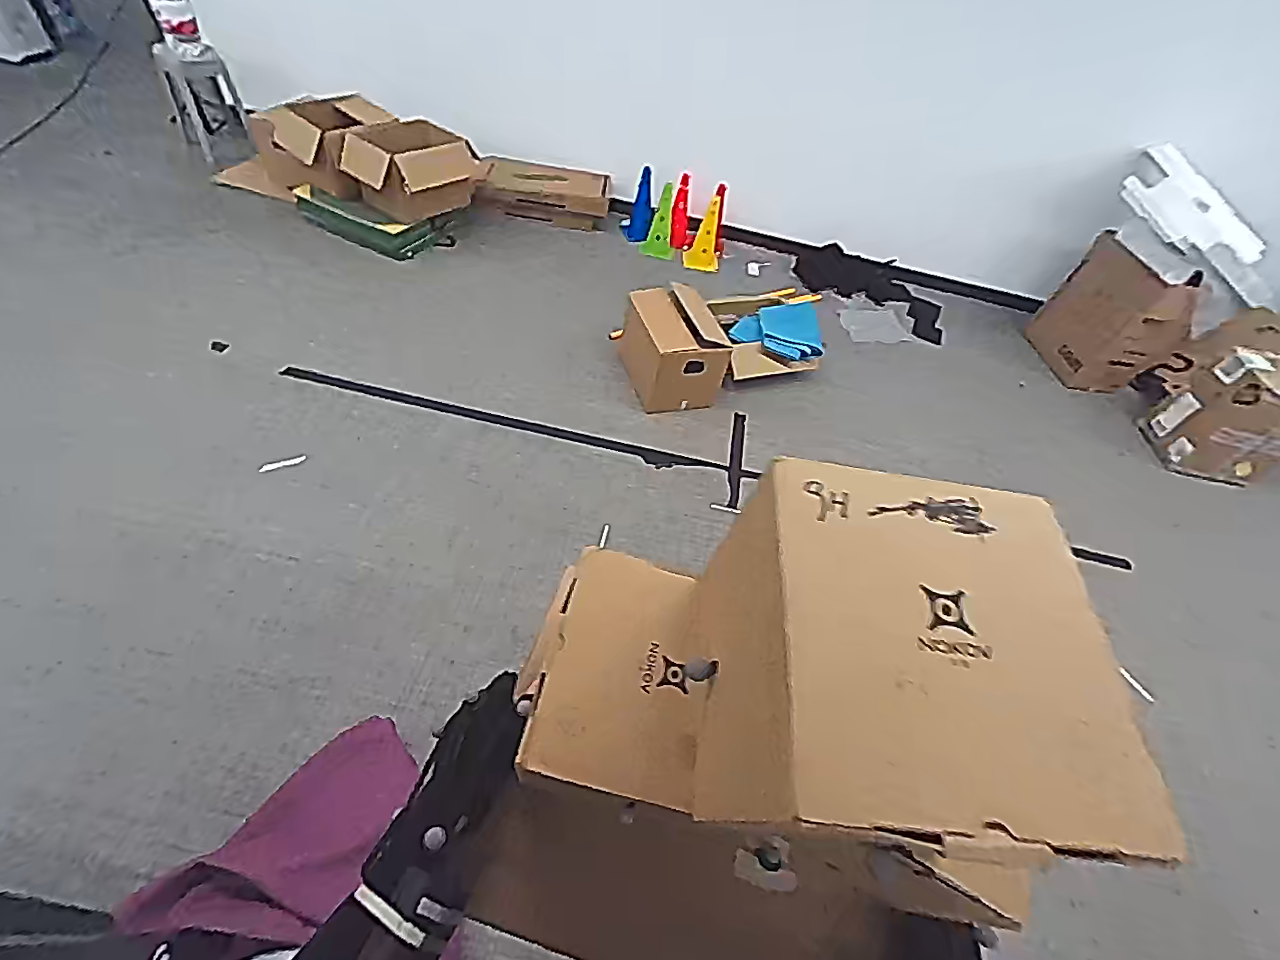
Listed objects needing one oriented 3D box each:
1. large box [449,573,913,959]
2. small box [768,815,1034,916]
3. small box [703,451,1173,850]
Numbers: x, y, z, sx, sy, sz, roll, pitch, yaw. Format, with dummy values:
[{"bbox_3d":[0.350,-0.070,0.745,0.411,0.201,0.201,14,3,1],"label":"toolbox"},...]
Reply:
[{"bbox_3d":[0.043,0.363,0.639,0.408,0.320,0.320,19,55,1],"label":"large box"},{"bbox_3d":[0.202,0.225,0.465,0.168,0.176,0.179,29,55,10],"label":"small box"},{"bbox_3d":[0.139,0.110,0.332,0.168,0.176,0.179,9,56,-4],"label":"small box"}]
